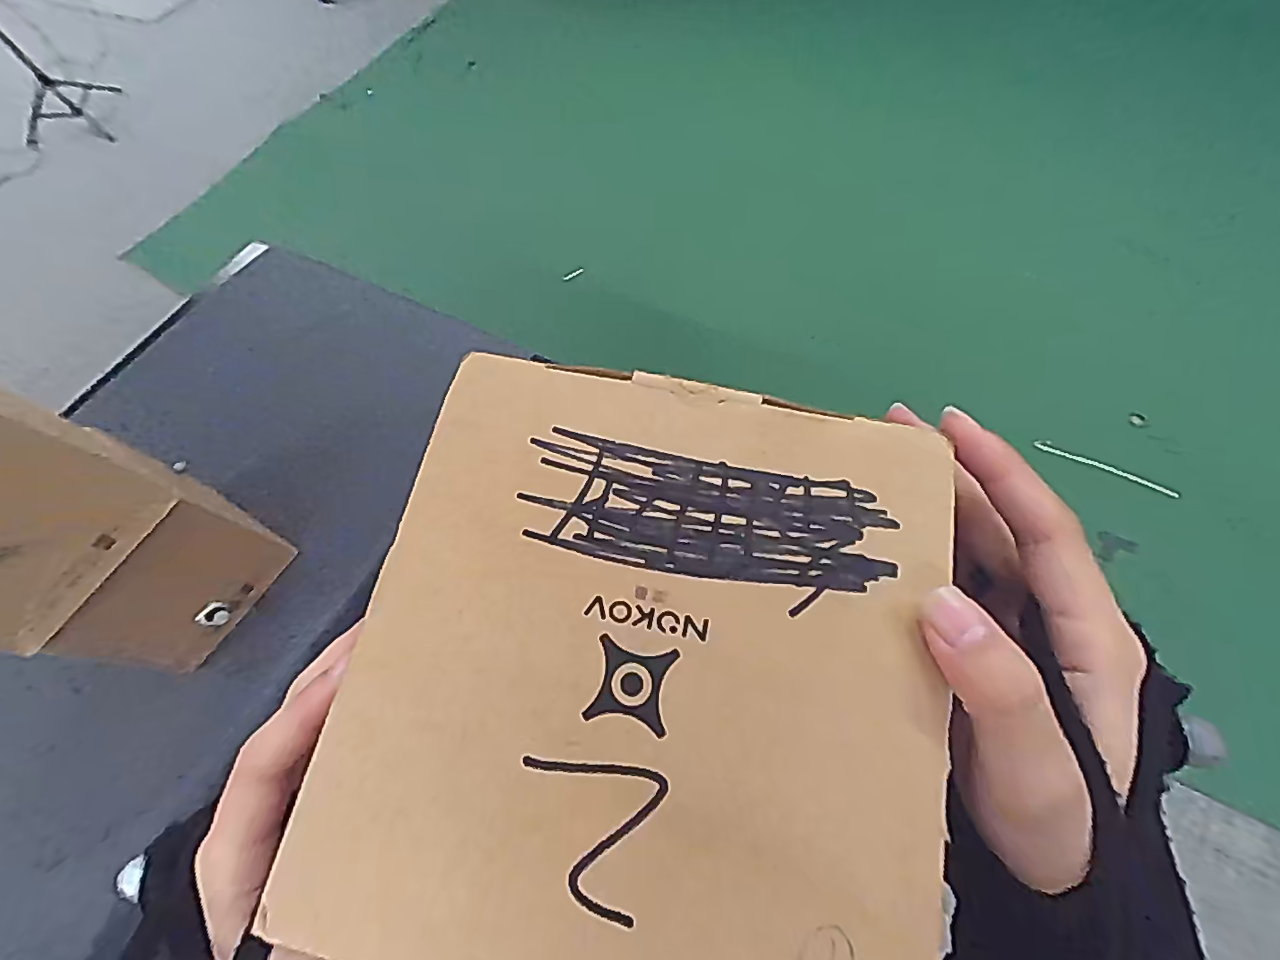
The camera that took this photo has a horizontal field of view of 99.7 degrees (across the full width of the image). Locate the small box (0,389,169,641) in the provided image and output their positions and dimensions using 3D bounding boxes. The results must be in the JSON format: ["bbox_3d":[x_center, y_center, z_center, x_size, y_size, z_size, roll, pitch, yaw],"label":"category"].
[{"bbox_3d":[-0.546,0.012,0.429,0.179,0.176,0.168,24,70,19],"label":"small box"}]

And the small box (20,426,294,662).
[{"bbox_3d":[-0.531,0.077,0.577,0.179,0.176,0.168,26,71,18],"label":"small box"}]
